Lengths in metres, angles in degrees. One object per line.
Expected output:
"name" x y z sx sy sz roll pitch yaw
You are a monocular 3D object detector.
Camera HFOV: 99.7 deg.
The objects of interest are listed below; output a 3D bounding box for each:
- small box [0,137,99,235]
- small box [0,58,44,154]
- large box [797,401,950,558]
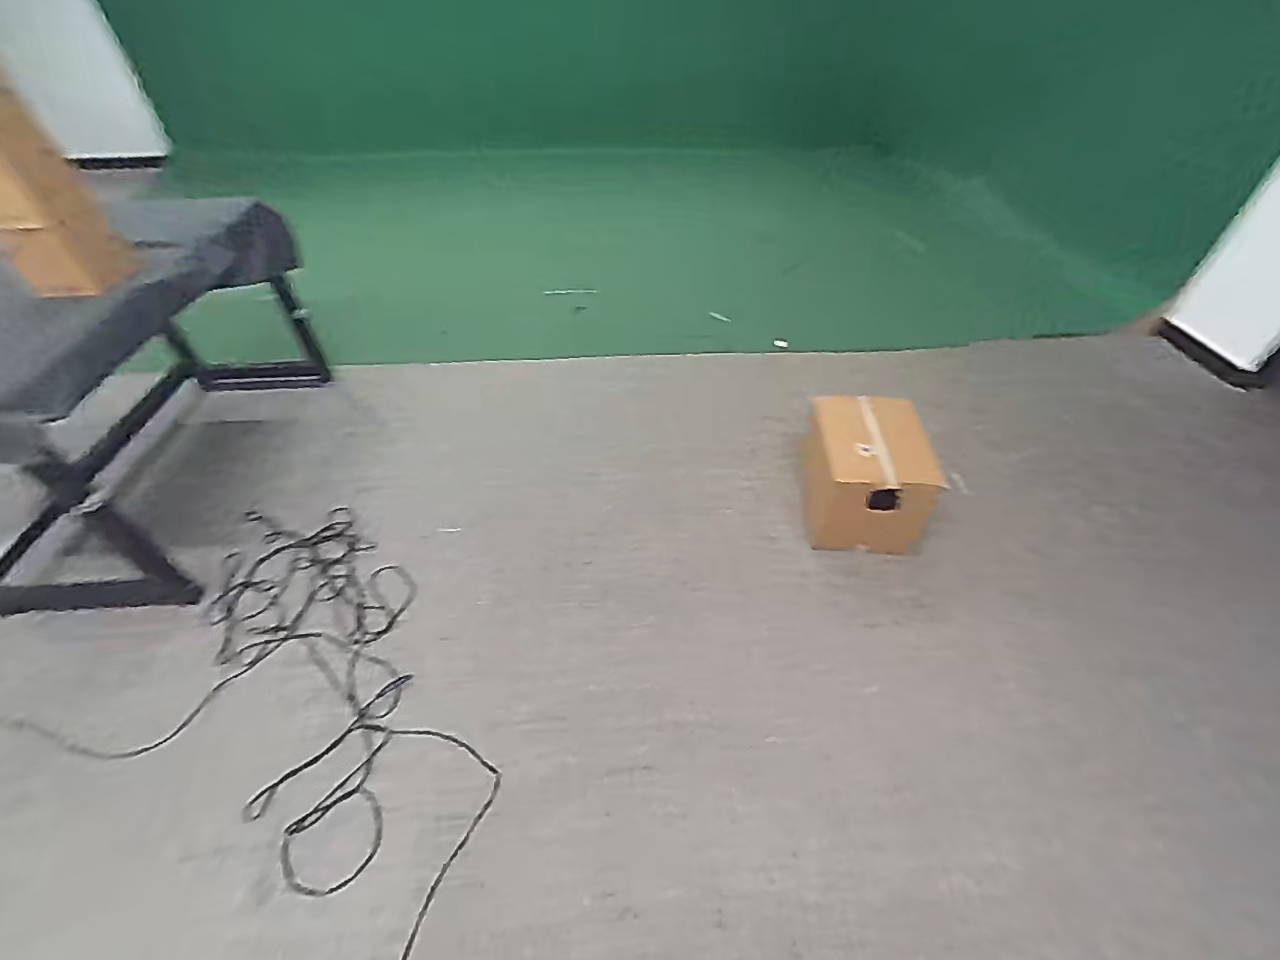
"small box" -1.456 -0.688 1.272 0.168 0.176 0.179 -2 44 -1
"small box" -1.463 -0.803 1.158 0.168 0.176 0.179 -3 45 0
"large box" 0.714 -0.006 1.737 0.320 0.320 0.408 2 46 3
